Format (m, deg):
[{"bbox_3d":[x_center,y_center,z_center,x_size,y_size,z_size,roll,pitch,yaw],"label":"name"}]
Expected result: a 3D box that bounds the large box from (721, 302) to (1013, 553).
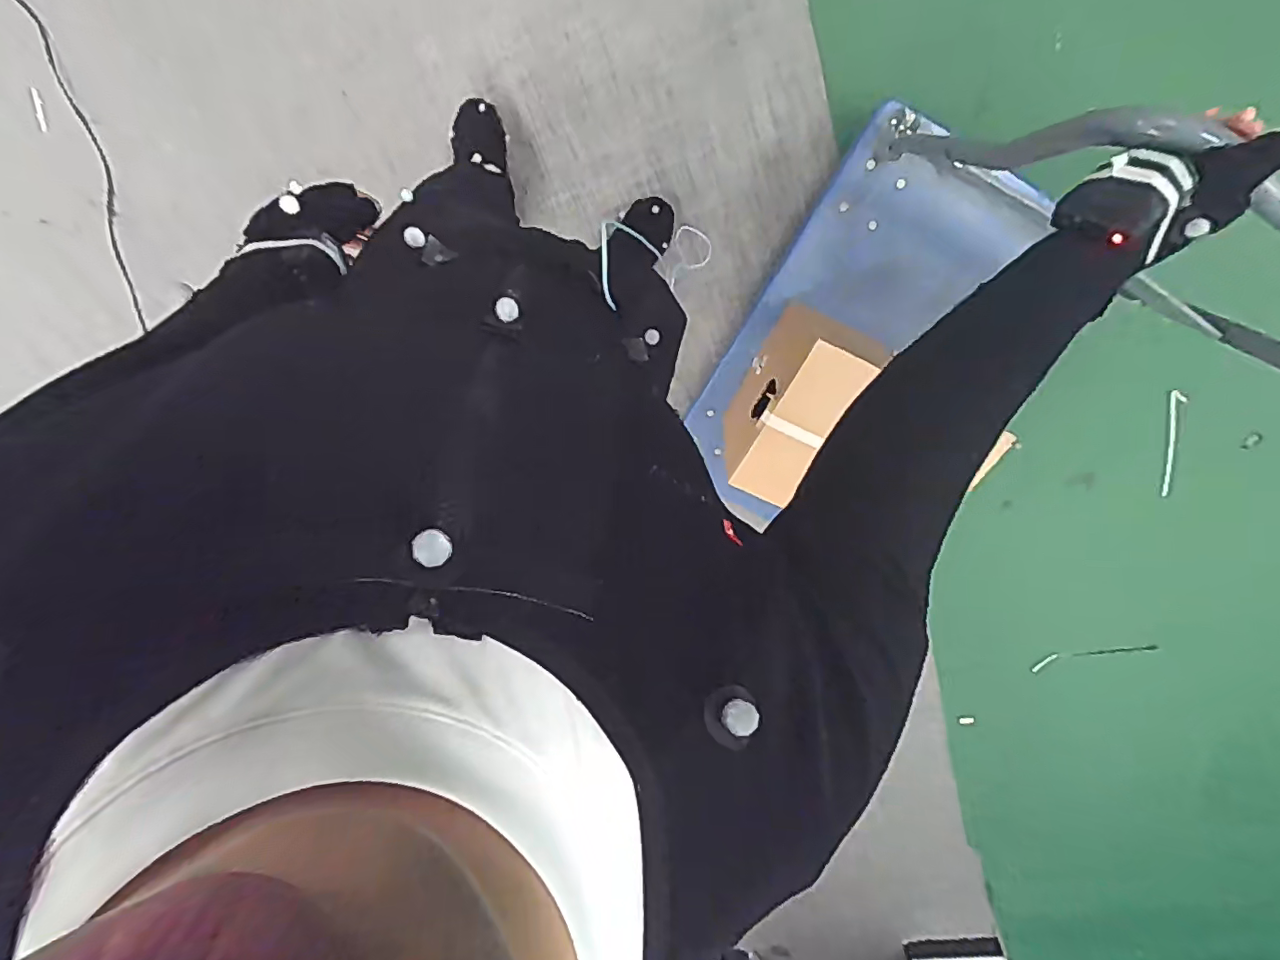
[{"bbox_3d":[0.418,-0.116,1.110,0.408,0.320,0.320,23,121,-9],"label":"large box"}]
